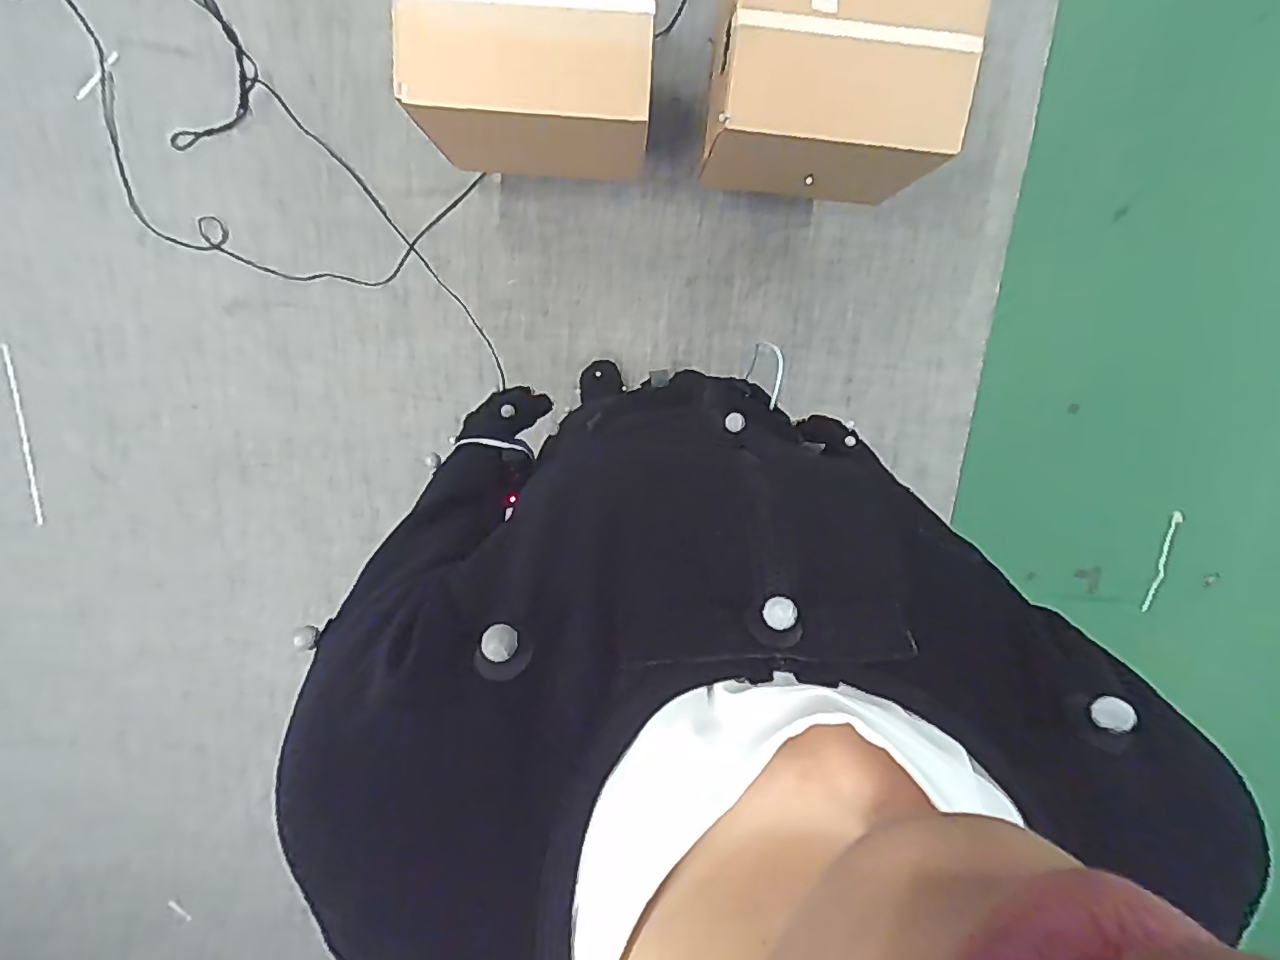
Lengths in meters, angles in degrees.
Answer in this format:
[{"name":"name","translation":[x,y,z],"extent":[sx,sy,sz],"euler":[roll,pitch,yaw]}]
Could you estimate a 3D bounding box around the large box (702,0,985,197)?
[{"name":"large box","translation":[0.351,-0.755,1.025],"extent":[0.408,0.320,0.320],"euler":[5,102,-2]}]
